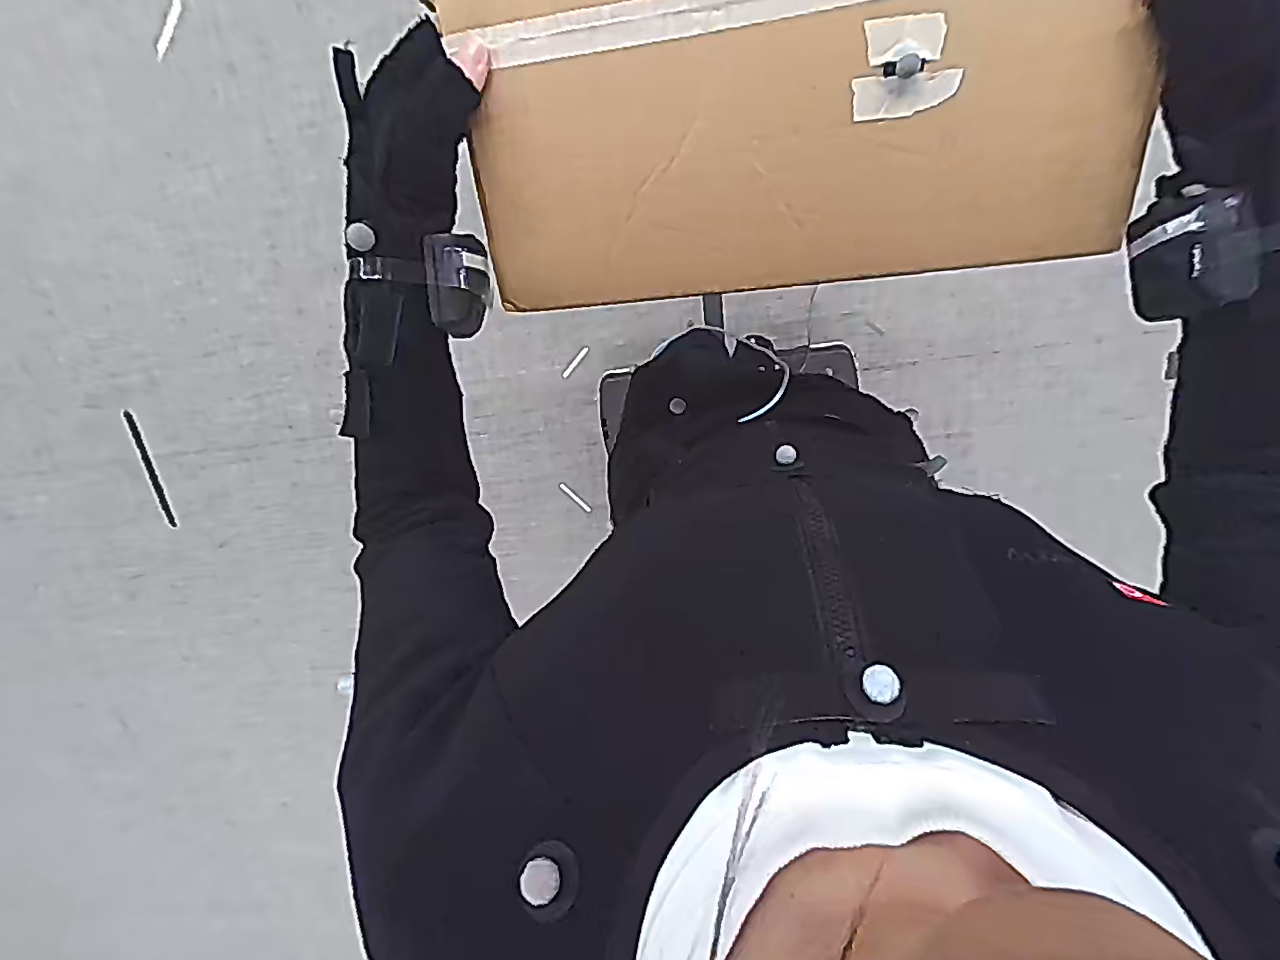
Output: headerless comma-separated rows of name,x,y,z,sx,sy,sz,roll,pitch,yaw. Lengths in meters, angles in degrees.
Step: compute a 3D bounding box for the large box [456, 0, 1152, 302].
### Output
large box,0.100,-0.349,0.449,0.408,0.320,0.320,-3,116,9
